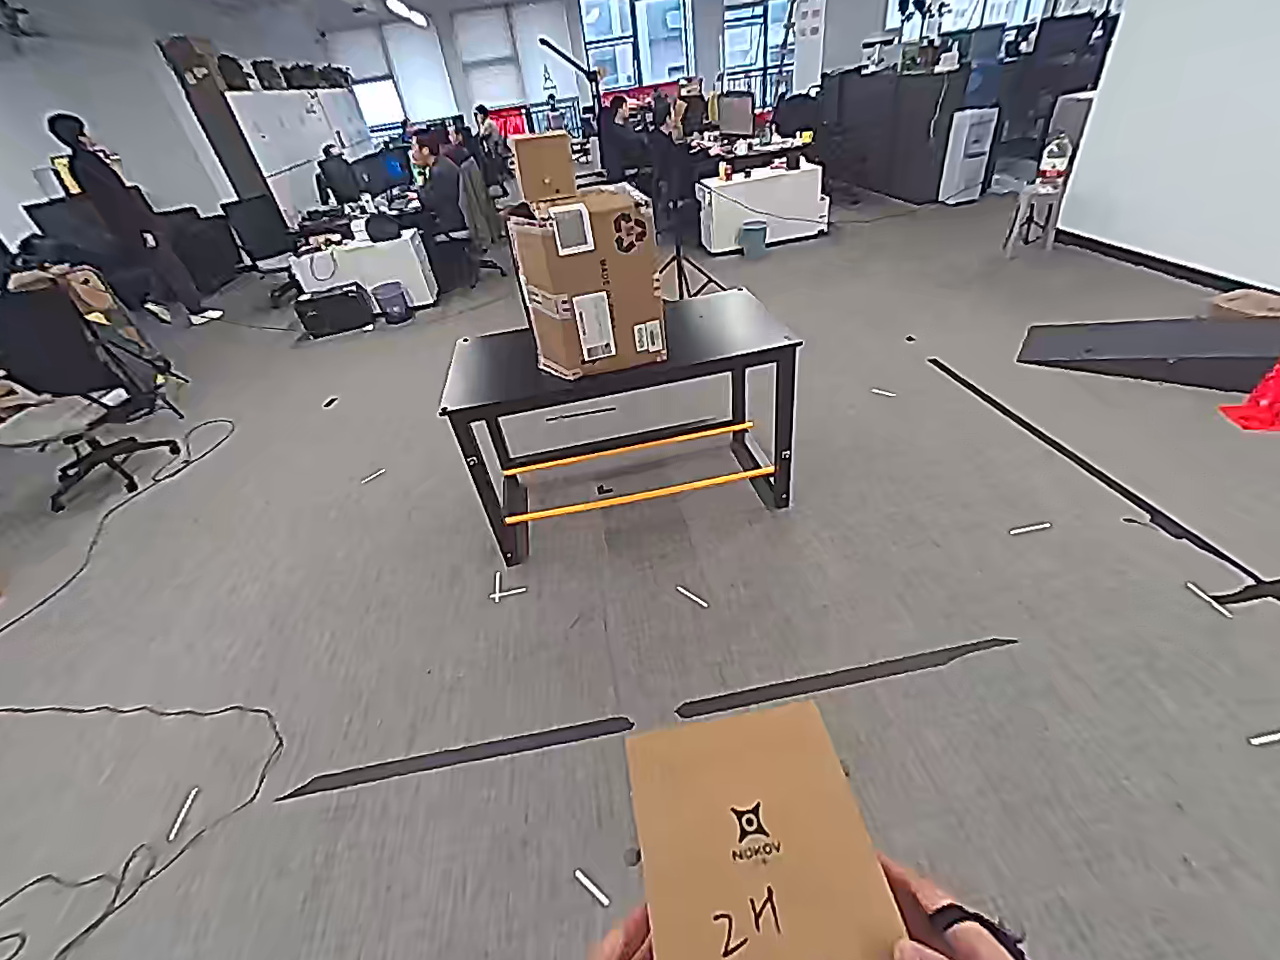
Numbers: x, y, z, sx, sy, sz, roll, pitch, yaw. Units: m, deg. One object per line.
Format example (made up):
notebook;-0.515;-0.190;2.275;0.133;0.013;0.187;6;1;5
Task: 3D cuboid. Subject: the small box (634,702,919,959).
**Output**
small box;0.091;0.318;0.450;0.168;0.176;0.179;-10;43;-3

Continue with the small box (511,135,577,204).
small box;-0.299;-0.966;1.681;0.168;0.176;0.179;-13;35;-9
